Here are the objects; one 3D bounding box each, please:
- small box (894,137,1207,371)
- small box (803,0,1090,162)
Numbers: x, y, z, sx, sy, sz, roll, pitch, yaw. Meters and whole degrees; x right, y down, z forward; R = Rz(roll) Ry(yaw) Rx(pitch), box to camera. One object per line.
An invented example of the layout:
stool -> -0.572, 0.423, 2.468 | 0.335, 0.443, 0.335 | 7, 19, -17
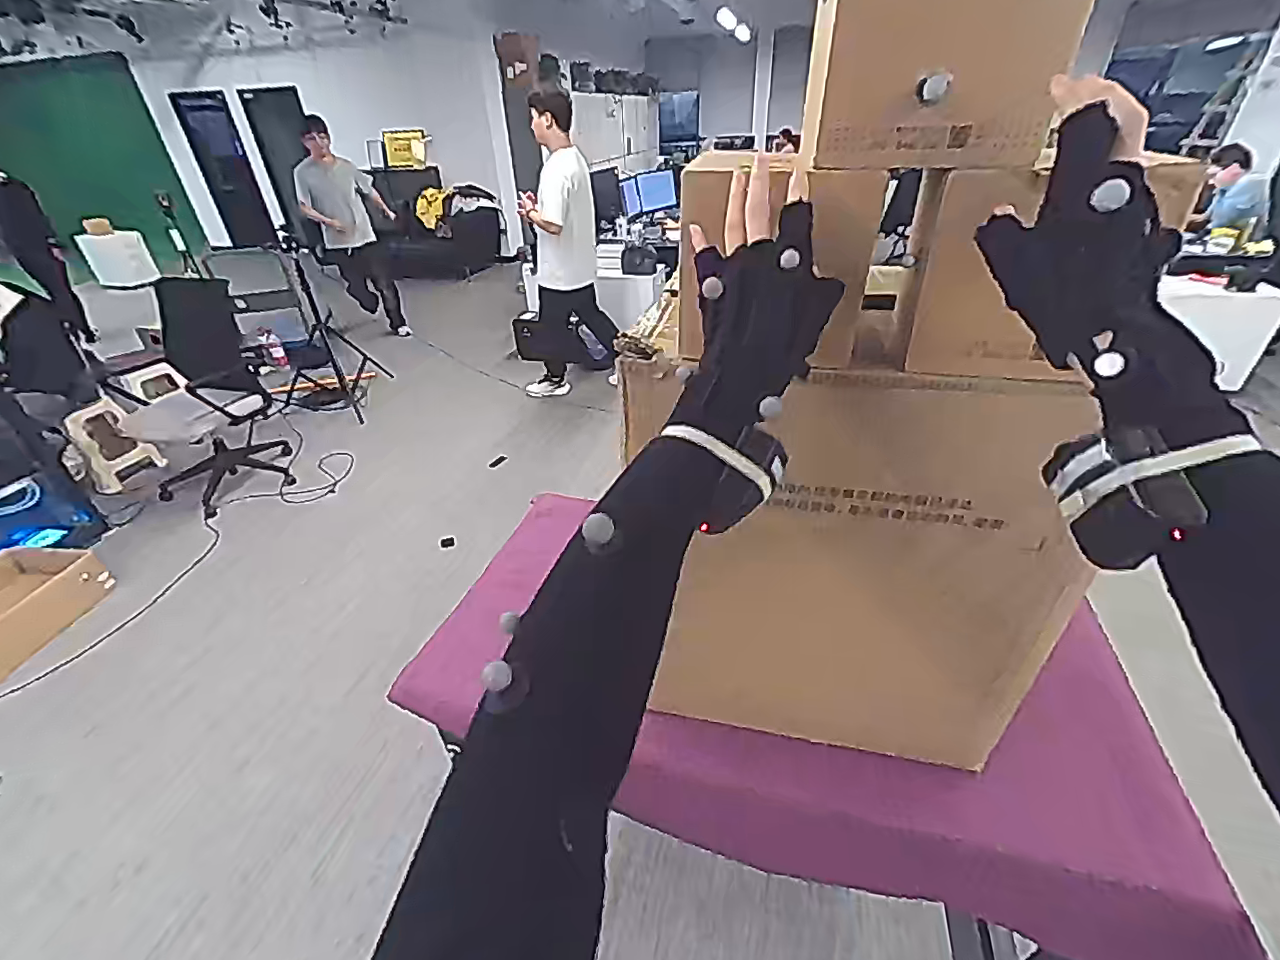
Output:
small box -> 0.343, -0.210, 0.500 | 0.168, 0.176, 0.179 | 8, 34, 16
small box -> 0.231, -0.362, 0.438 | 0.168, 0.176, 0.179 | 4, 35, 9
